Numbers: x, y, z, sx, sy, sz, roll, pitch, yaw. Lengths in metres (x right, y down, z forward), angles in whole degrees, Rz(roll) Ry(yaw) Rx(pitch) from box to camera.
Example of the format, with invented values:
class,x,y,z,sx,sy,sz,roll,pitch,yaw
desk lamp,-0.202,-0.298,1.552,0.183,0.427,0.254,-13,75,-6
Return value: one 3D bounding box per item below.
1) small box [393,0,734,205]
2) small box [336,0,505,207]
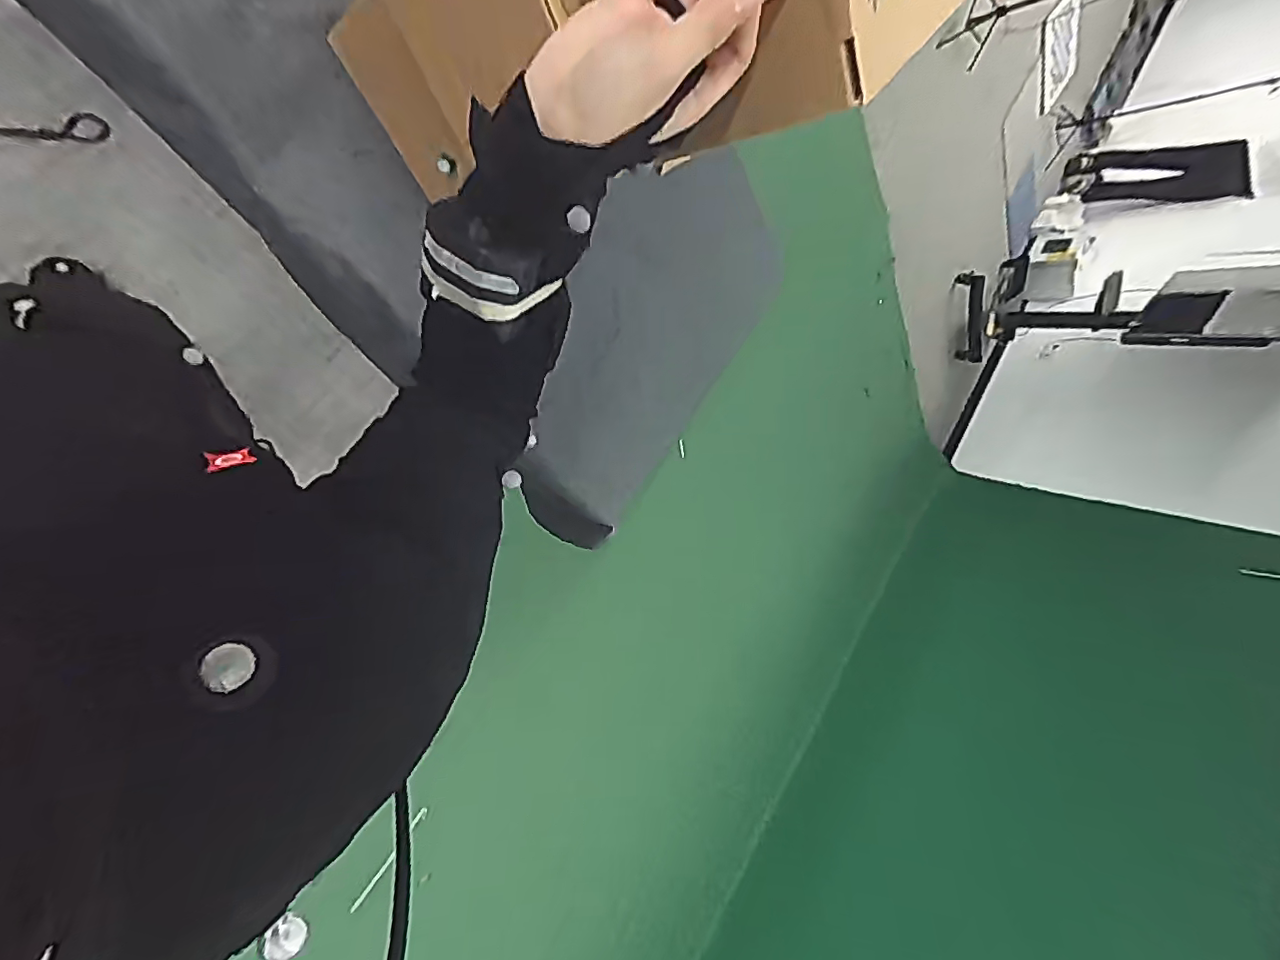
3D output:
class,x,y,z,sx,sy,sz,roll,pitch,yaw
small box,-0.058,-0.346,0.424,0.168,0.176,0.179,-49,132,-24
small box,-0.159,-0.398,0.542,0.168,0.176,0.179,-50,131,-23
